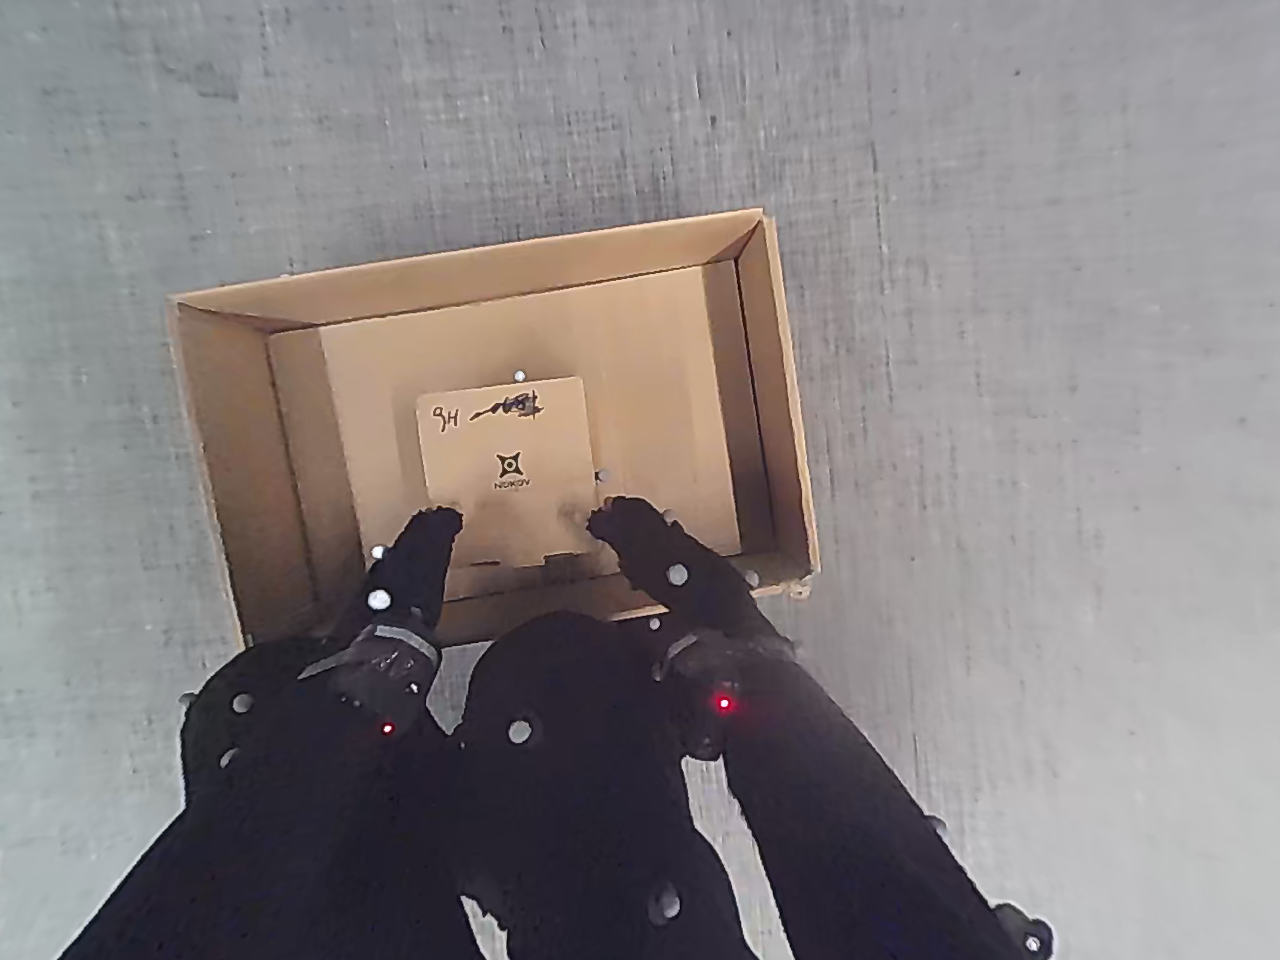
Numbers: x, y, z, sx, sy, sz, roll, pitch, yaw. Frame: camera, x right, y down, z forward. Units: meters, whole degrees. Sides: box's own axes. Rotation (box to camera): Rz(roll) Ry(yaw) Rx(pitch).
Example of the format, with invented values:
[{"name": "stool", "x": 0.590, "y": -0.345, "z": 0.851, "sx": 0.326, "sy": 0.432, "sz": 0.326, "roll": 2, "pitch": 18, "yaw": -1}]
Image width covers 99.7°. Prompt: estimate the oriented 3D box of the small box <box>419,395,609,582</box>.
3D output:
[{"name": "small box", "x": -0.127, "y": 0.002, "z": 0.614, "sx": 0.168, "sy": 0.176, "sz": 0.179, "roll": -7, "pitch": 95, "yaw": -1}]
